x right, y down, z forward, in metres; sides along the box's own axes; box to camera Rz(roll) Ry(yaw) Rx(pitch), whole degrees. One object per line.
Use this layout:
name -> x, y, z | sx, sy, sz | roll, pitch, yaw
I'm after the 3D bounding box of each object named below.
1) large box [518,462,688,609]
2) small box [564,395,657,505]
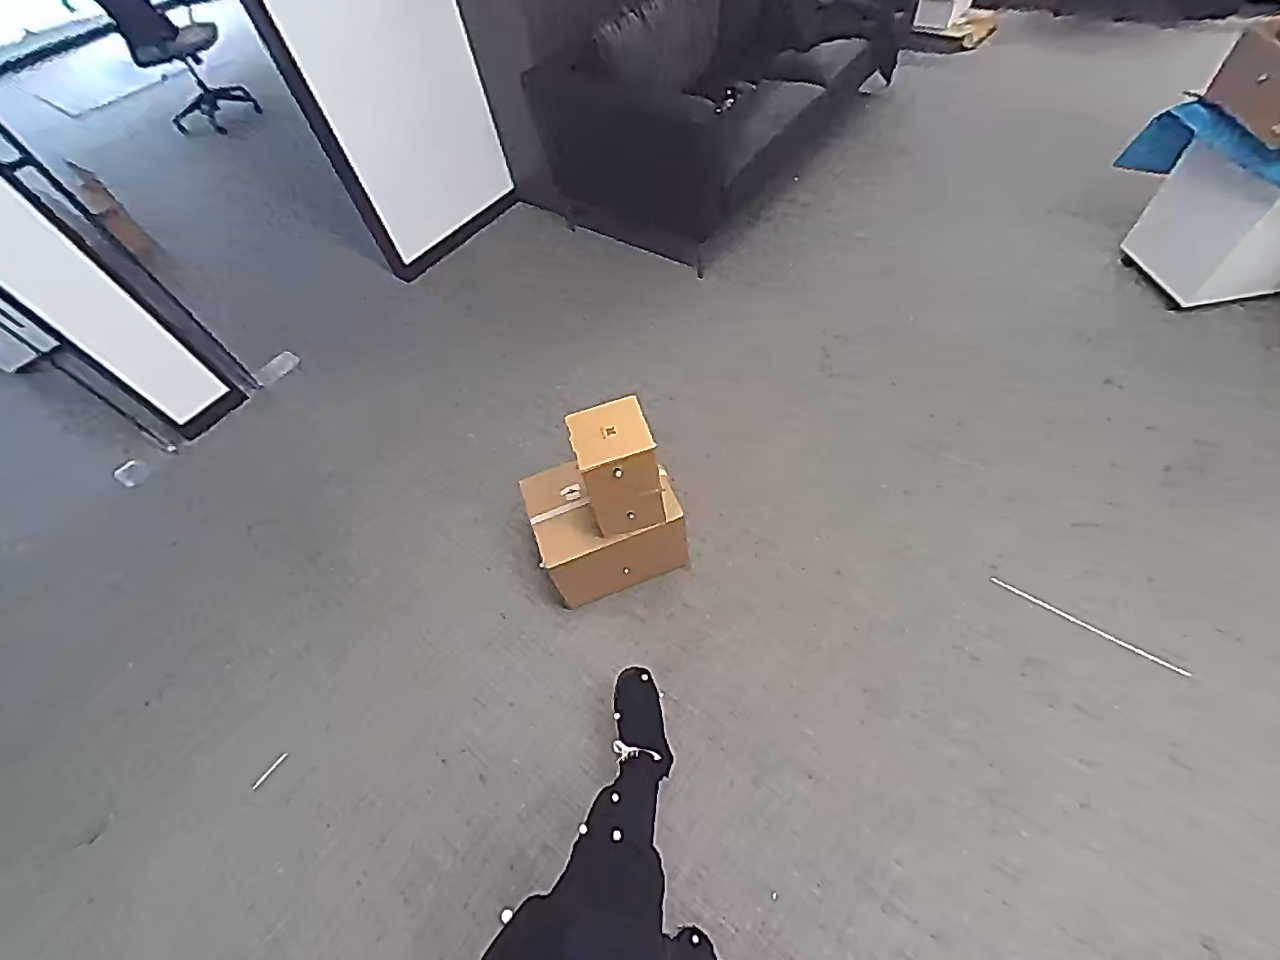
large box -> -0.101, 0.136, 1.639 | 0.408, 0.320, 0.320 | -22, 56, -6
small box -> -0.064, -0.066, 1.274 | 0.179, 0.176, 0.168 | -19, 57, -3
